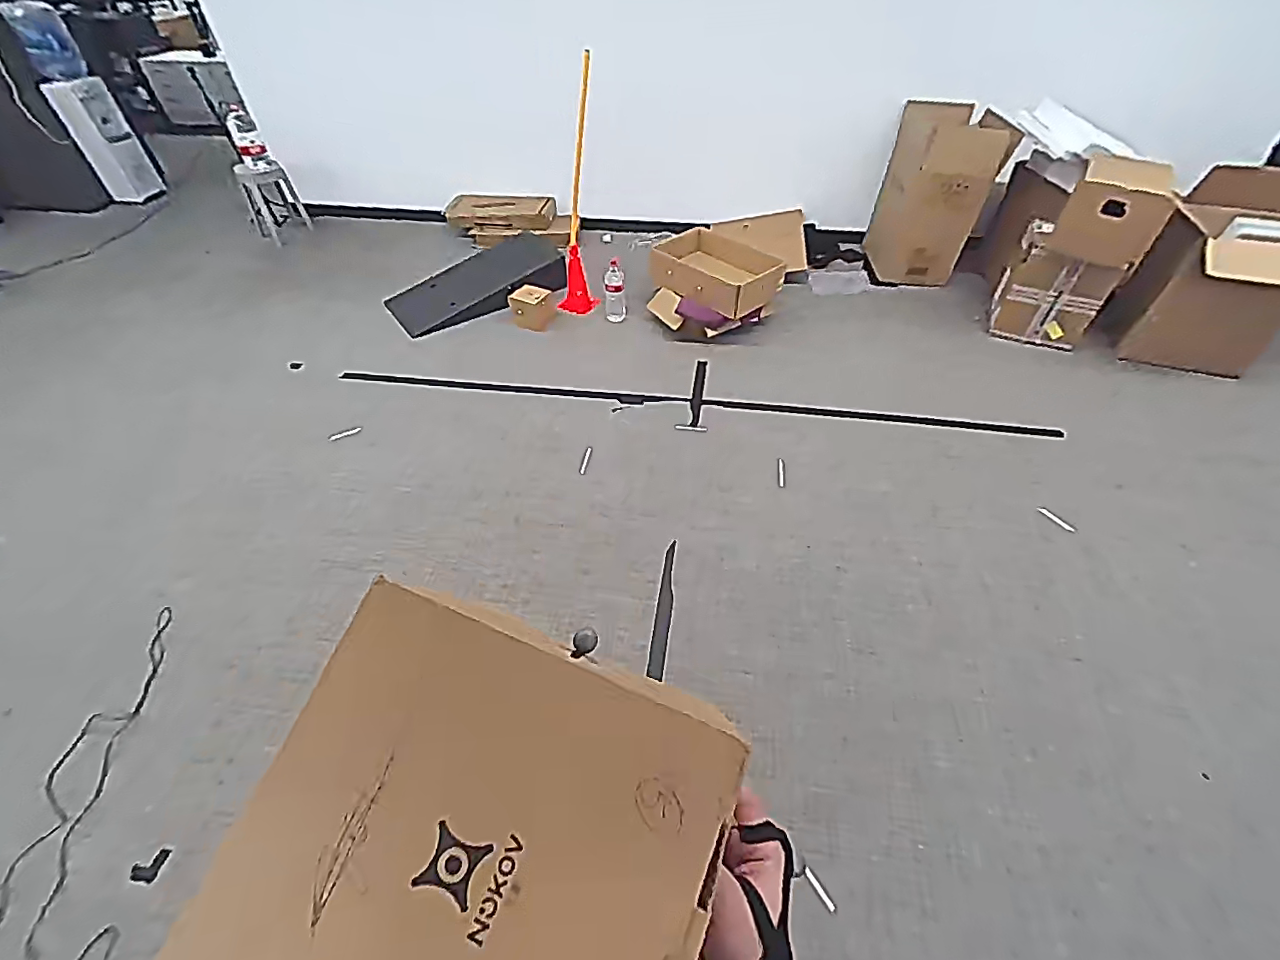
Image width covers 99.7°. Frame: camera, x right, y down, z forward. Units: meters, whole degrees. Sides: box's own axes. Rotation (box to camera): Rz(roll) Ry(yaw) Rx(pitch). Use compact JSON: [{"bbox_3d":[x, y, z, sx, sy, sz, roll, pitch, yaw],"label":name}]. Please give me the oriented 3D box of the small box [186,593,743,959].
[{"bbox_3d":[-0.065,0.175,0.291,0.179,0.176,0.168,21,73,7],"label":"small box"}]
